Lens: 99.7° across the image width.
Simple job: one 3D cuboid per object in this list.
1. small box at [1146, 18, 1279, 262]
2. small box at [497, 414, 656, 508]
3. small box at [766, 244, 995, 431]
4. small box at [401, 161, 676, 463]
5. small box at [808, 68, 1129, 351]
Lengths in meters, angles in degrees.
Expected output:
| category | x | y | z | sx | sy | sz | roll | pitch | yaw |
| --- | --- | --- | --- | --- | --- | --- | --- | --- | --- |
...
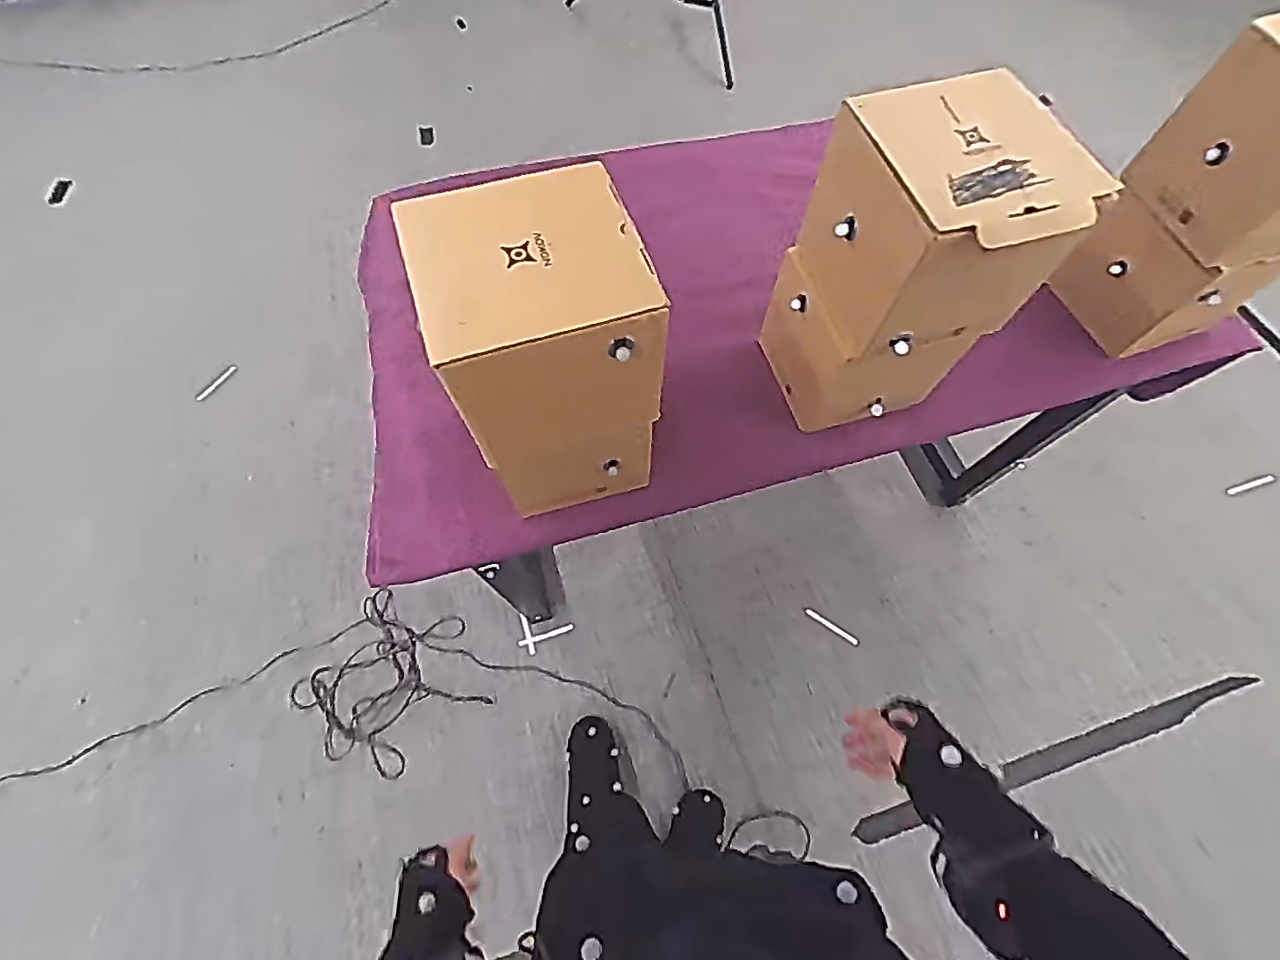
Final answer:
| category | x | y | z | sx | sy | sz | roll | pitch | yaw |
| --- | --- | --- | --- | --- | --- | --- | --- | --- | --- |
| small box | 0.705 | -0.360 | 0.574 | 0.179 | 0.176 | 0.168 | -13 | 67 | -5 |
| small box | -0.084 | -0.080 | 0.629 | 0.168 | 0.176 | 0.179 | -14 | 66 | -8 |
| small box | 0.281 | -0.183 | 0.676 | 0.179 | 0.176 | 0.168 | -14 | 68 | -7 |
| small box | -0.081 | -0.136 | 0.476 | 0.179 | 0.176 | 0.168 | -18 | 68 | -10 |
| small box | 0.287 | -0.245 | 0.522 | 0.168 | 0.176 | 0.179 | -14 | 67 | -6 |
